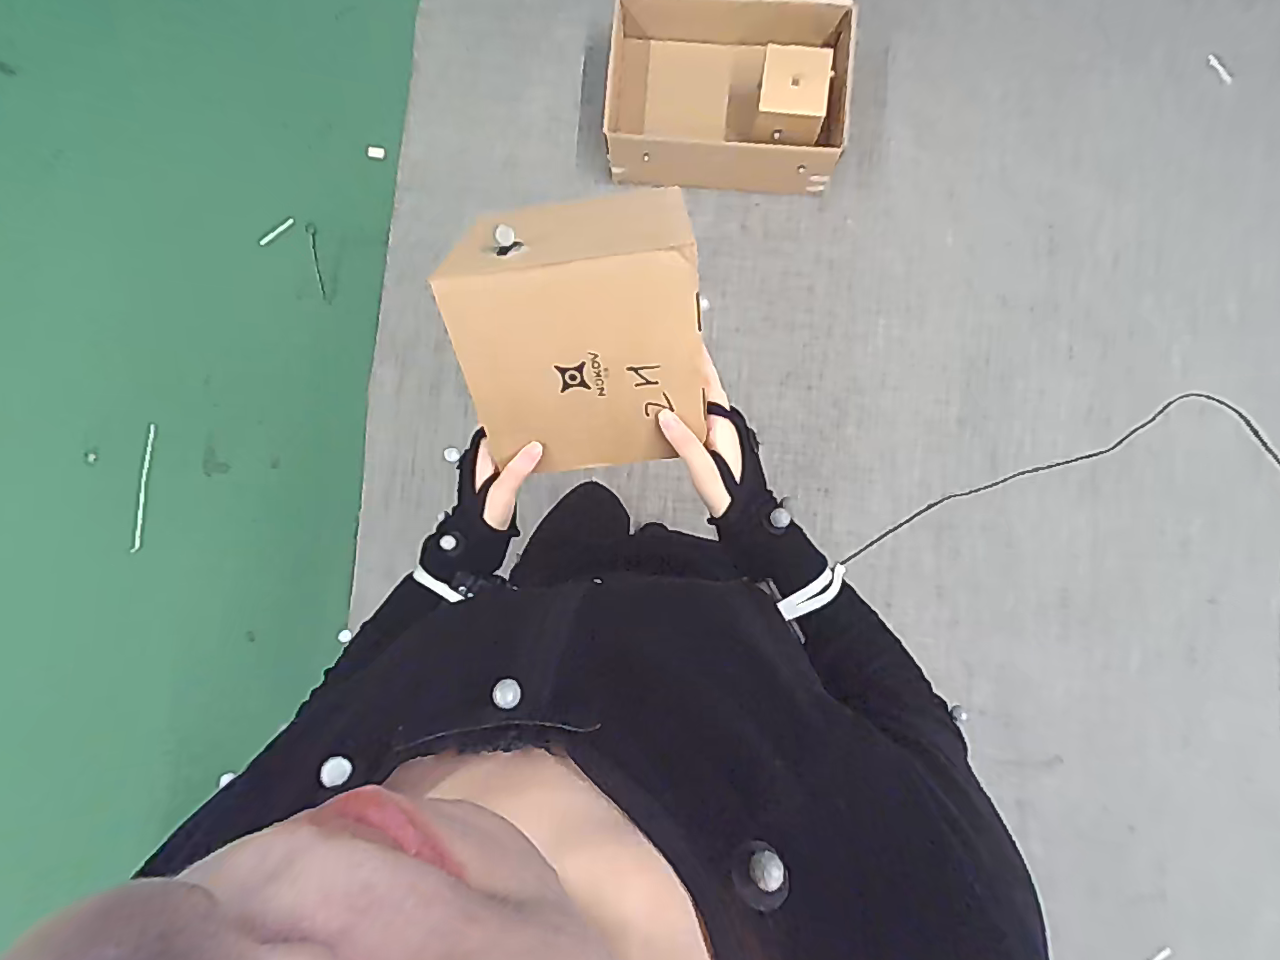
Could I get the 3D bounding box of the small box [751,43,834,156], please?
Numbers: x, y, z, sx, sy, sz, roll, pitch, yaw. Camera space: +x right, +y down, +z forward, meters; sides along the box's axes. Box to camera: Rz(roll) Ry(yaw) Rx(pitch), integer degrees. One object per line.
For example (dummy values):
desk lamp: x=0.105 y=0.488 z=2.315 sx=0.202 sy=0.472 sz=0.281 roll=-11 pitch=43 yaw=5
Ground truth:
small box: x=0.390 y=-0.982 z=1.410 sx=0.168 sy=0.176 sz=0.179 roll=8 pitch=88 yaw=3

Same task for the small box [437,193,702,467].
small box: x=-0.041 y=-0.130 z=0.461 sx=0.179 sy=0.176 sz=0.168 roll=-5 pitch=130 yaw=3
